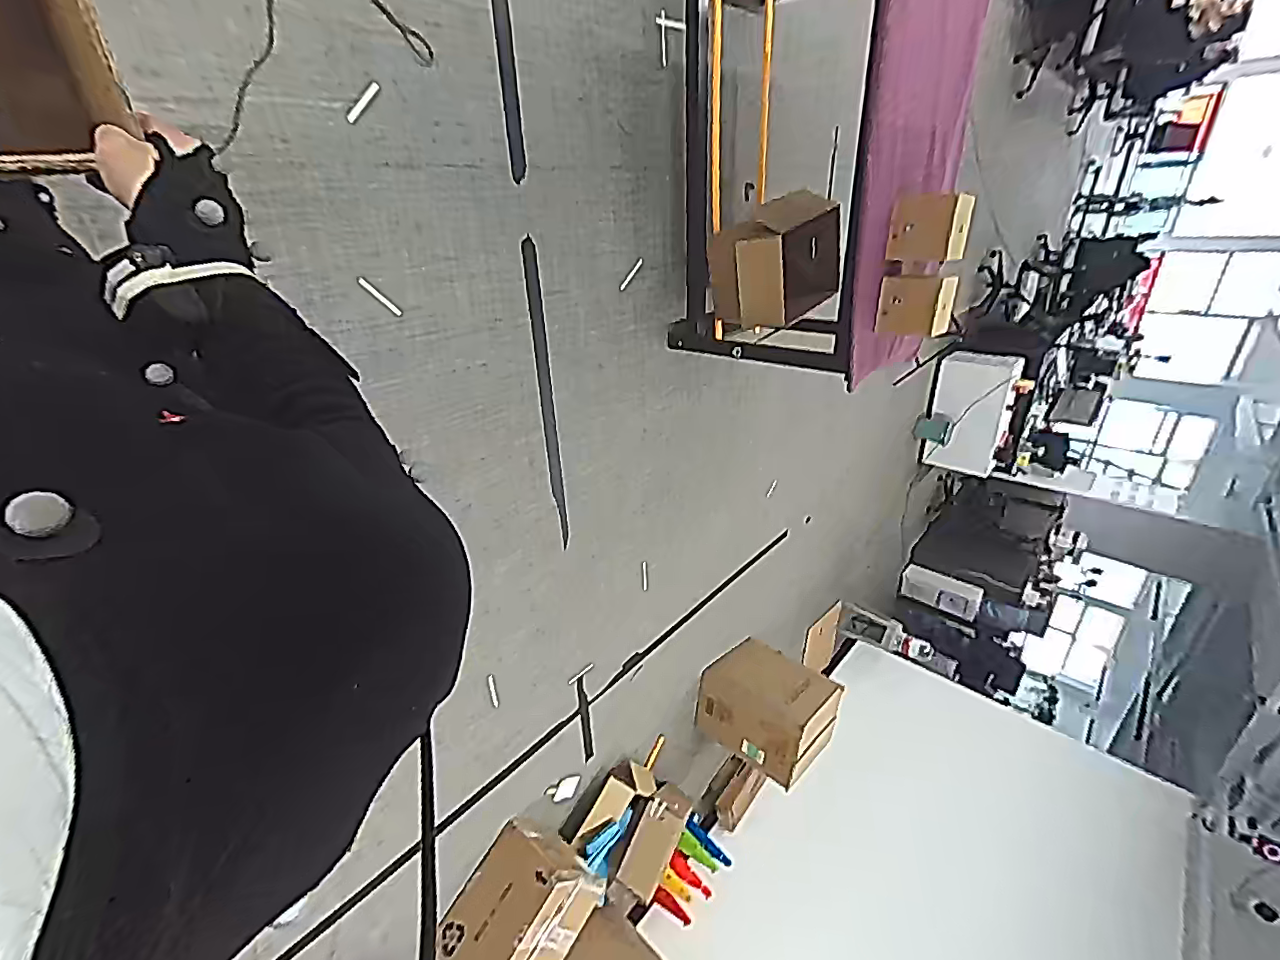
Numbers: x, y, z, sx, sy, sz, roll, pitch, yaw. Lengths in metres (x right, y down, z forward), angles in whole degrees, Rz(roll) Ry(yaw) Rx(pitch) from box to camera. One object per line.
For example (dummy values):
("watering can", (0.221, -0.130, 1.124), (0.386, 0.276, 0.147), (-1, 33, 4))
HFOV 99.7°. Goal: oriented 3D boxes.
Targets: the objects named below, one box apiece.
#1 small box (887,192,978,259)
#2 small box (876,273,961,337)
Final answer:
("small box", (0.834, -0.726, 1.548), (0.179, 0.176, 0.168), (-24, 123, -42))
("small box", (0.843, -0.537, 1.643), (0.179, 0.176, 0.168), (-24, 123, -43))
